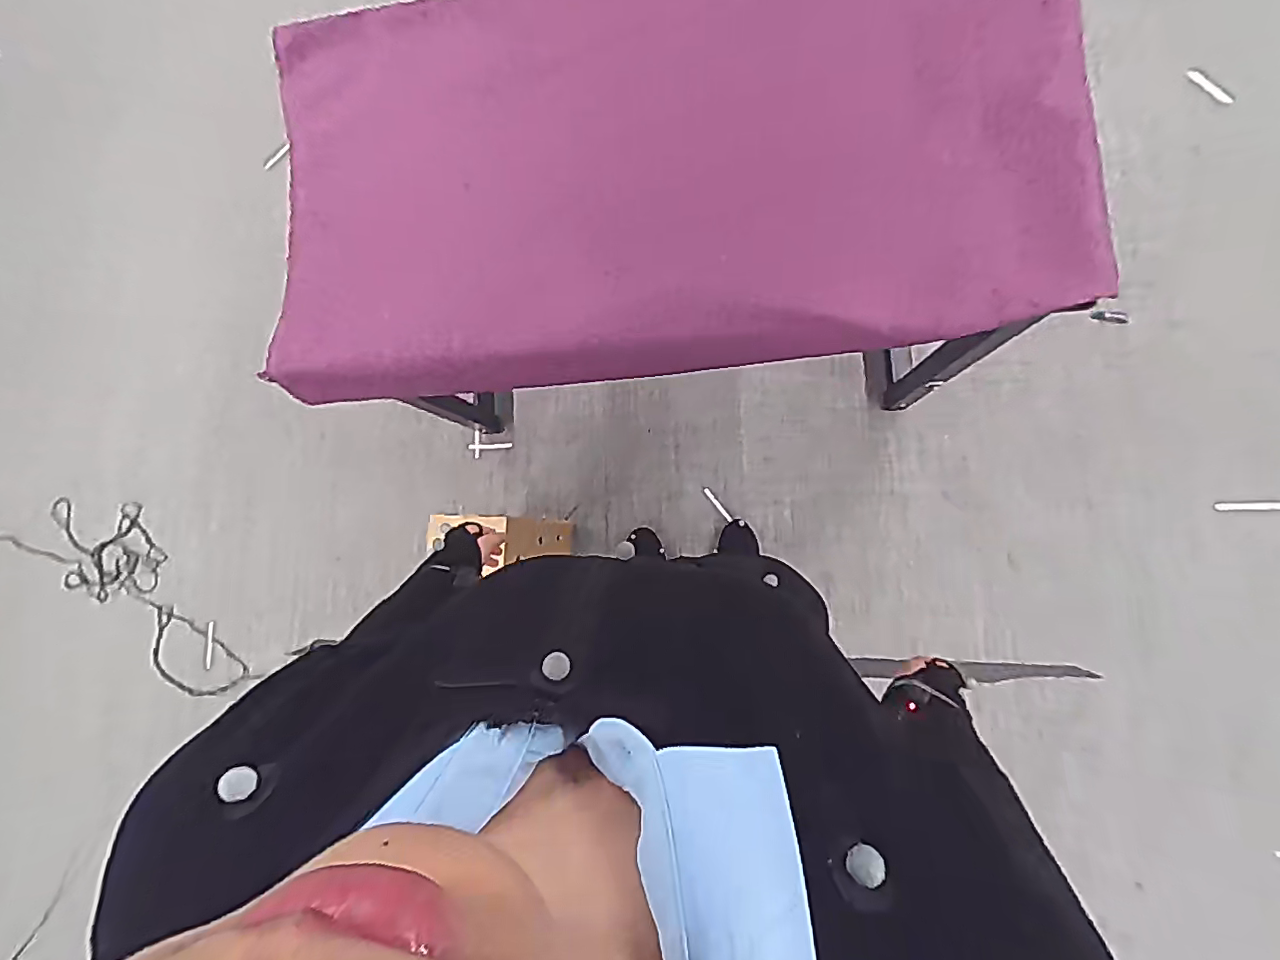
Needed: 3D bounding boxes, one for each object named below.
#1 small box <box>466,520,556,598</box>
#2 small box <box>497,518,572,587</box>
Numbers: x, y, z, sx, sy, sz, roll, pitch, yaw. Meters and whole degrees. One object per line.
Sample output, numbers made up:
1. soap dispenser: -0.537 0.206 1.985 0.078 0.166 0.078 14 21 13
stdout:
1. small box: -0.306 0.188 1.312 0.168 0.176 0.179 -1 85 8
2. small box: -0.291 0.199 1.476 0.168 0.176 0.179 4 86 8
